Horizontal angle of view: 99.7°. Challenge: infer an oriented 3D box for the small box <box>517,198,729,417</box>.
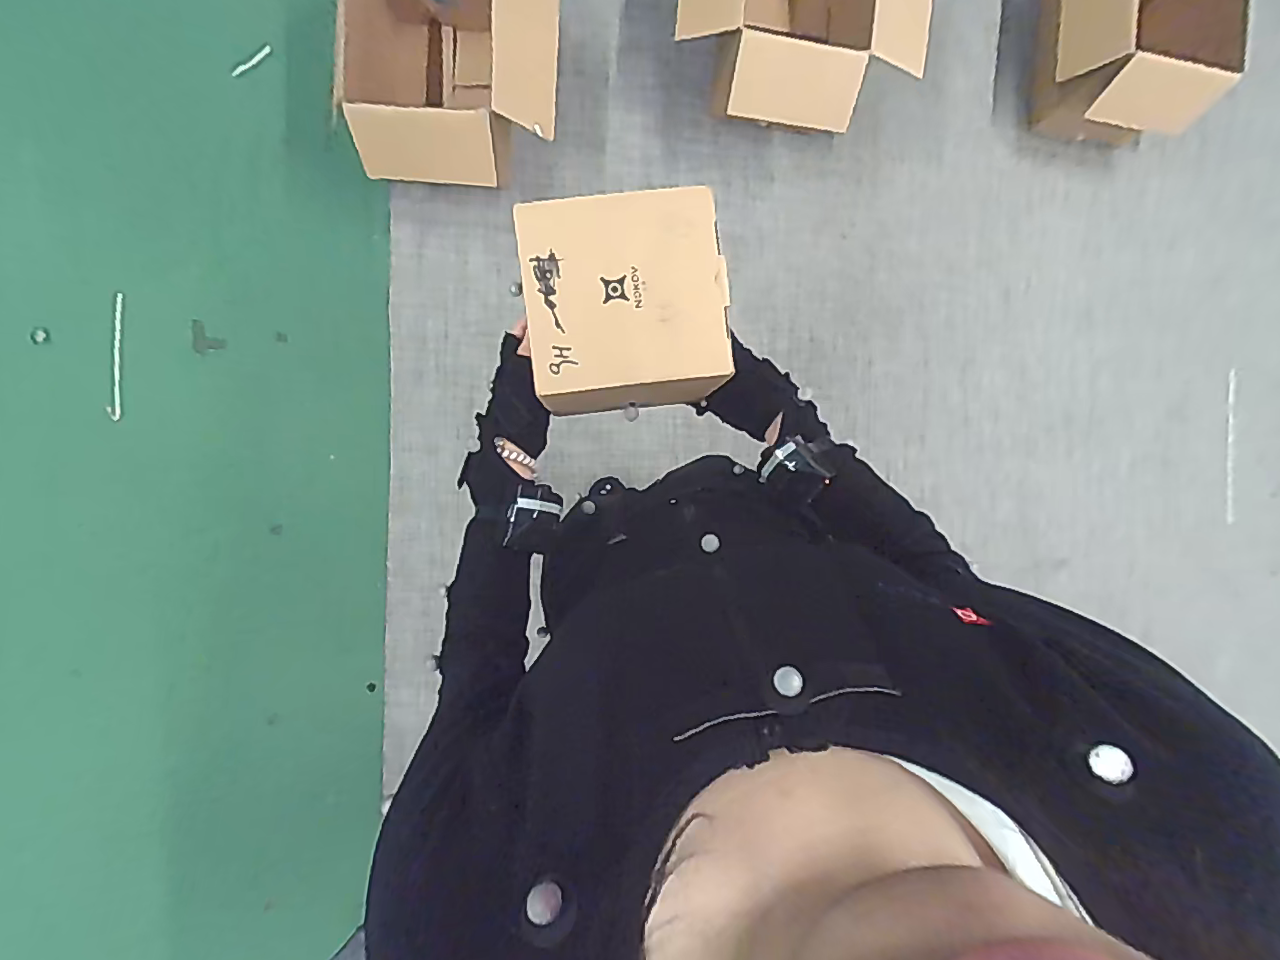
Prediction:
[{"bbox_3d":[-0.020,-0.161,0.552,0.179,0.176,0.168,-6,89,-4],"label":"small box"}]
